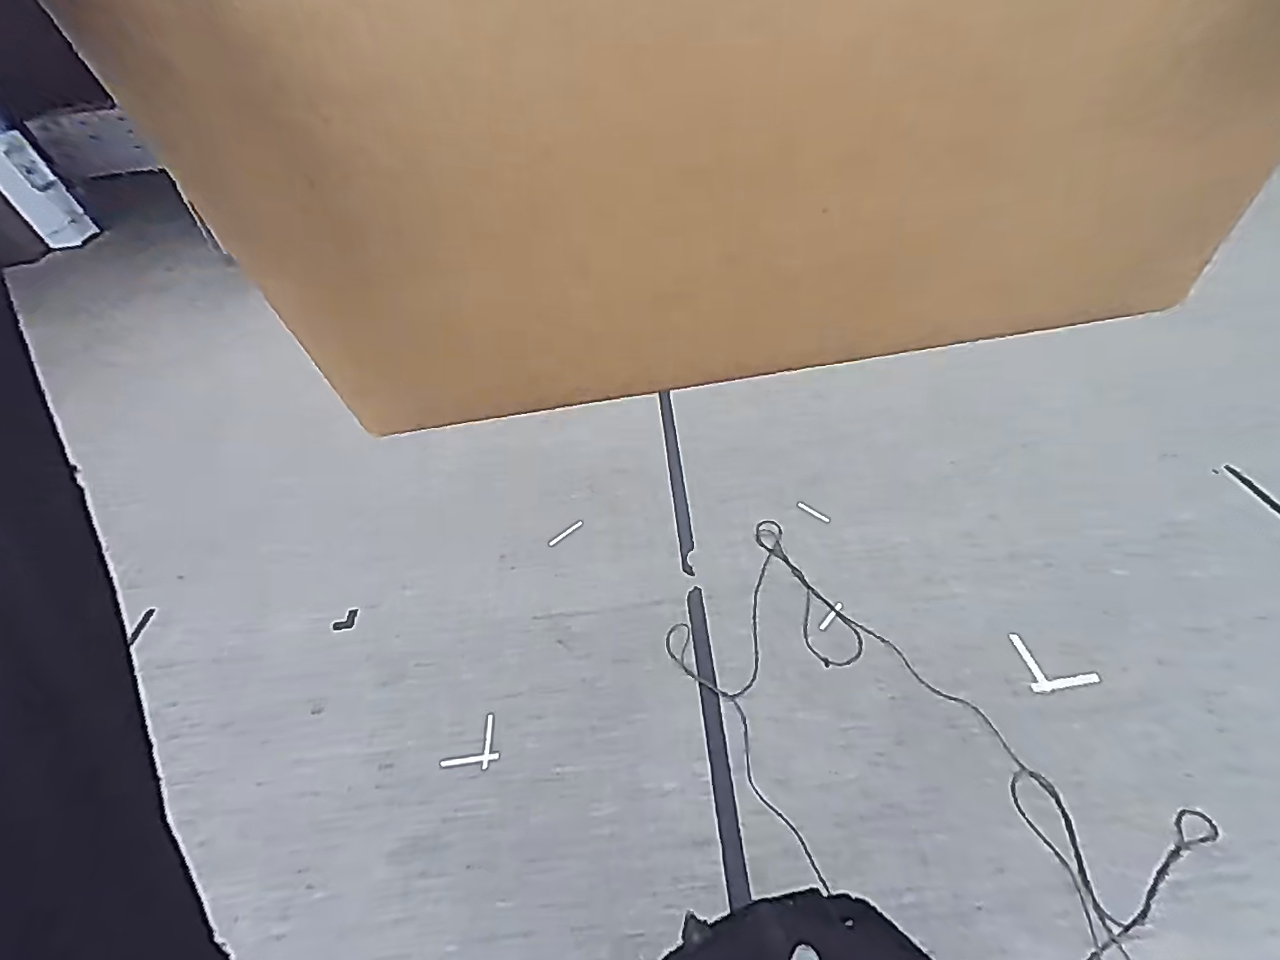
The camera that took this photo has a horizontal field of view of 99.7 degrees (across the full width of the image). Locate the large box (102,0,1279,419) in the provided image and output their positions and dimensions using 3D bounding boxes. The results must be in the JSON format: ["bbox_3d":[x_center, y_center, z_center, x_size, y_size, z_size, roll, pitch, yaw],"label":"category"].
[{"bbox_3d":[0.024,-0.267,0.265,0.408,0.320,0.320,-9,50,2],"label":"large box"}]
